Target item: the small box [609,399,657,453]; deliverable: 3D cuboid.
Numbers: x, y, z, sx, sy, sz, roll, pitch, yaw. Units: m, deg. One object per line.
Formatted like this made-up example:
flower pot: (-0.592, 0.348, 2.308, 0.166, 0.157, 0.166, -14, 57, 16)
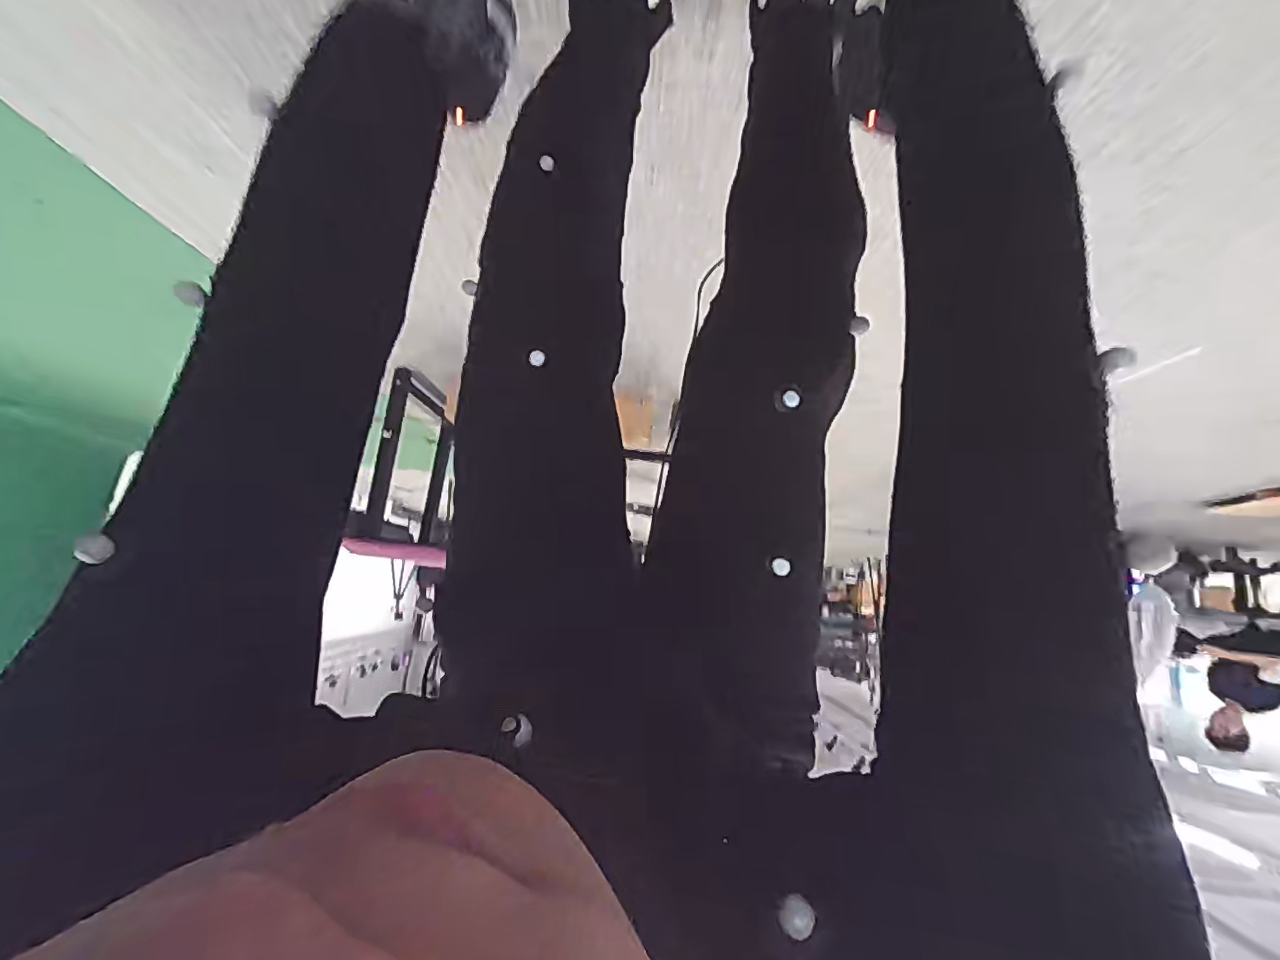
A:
small box: (-0.025, -0.218, 2.175, 0.168, 0.176, 0.179, 6, 170, 5)
